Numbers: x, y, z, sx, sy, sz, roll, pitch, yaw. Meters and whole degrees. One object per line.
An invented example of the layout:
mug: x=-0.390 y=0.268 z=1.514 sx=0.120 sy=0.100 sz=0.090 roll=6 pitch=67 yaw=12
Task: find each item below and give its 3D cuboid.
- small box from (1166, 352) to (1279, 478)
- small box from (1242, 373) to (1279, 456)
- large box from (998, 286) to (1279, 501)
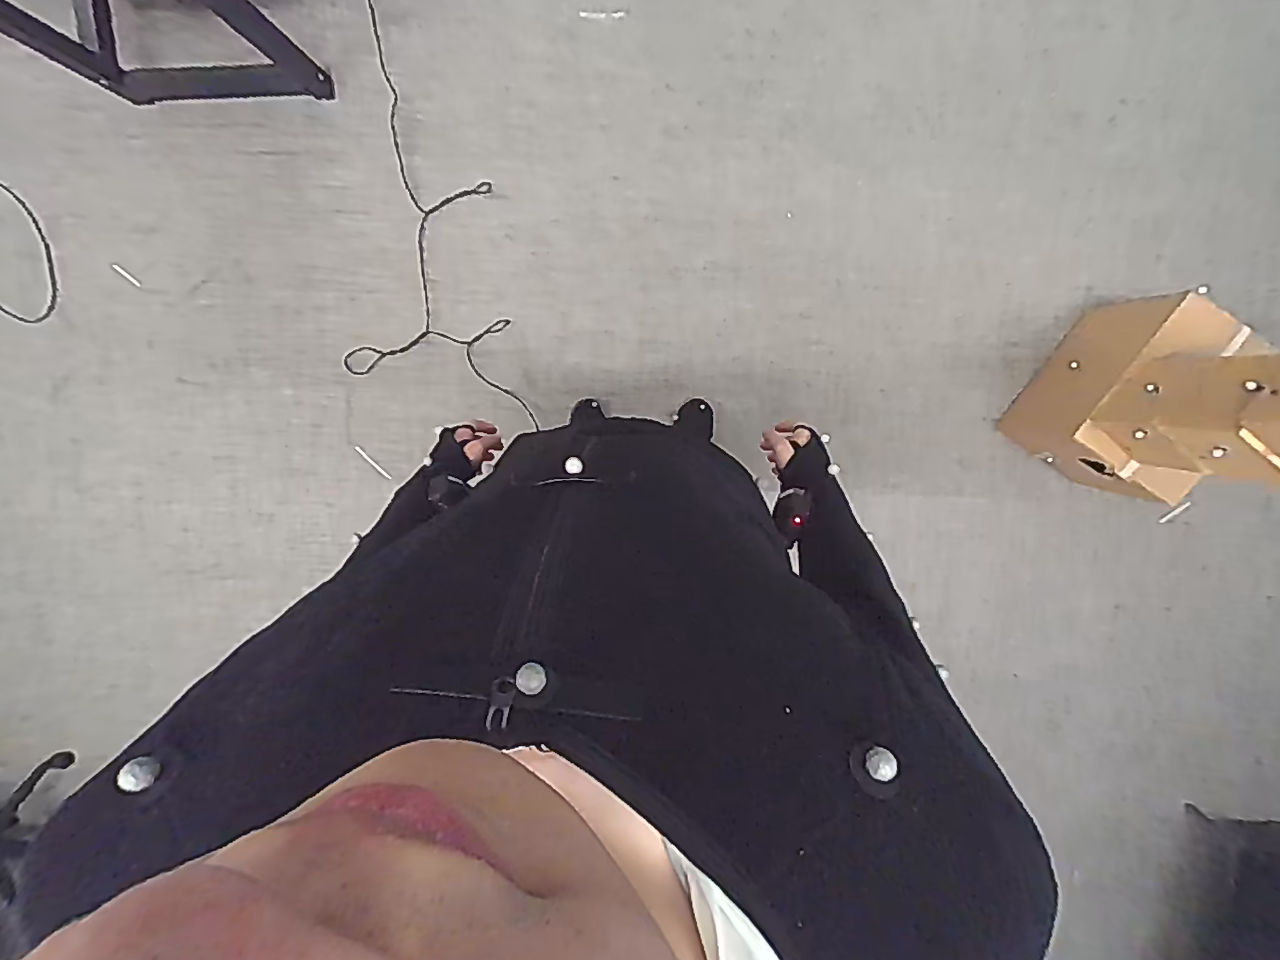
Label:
small box: x=1.149 y=-0.117 z=1.002 sx=0.168 sy=0.176 sz=0.179 roll=36 pitch=99 yaw=-3
small box: x=1.134 y=-0.104 z=0.839 sx=0.179 sy=0.176 sz=0.168 roll=38 pitch=98 yaw=-4
large box: x=1.251 y=-0.214 z=1.395 sx=0.320 sy=0.320 sz=0.408 roll=32 pitch=99 yaw=-5
